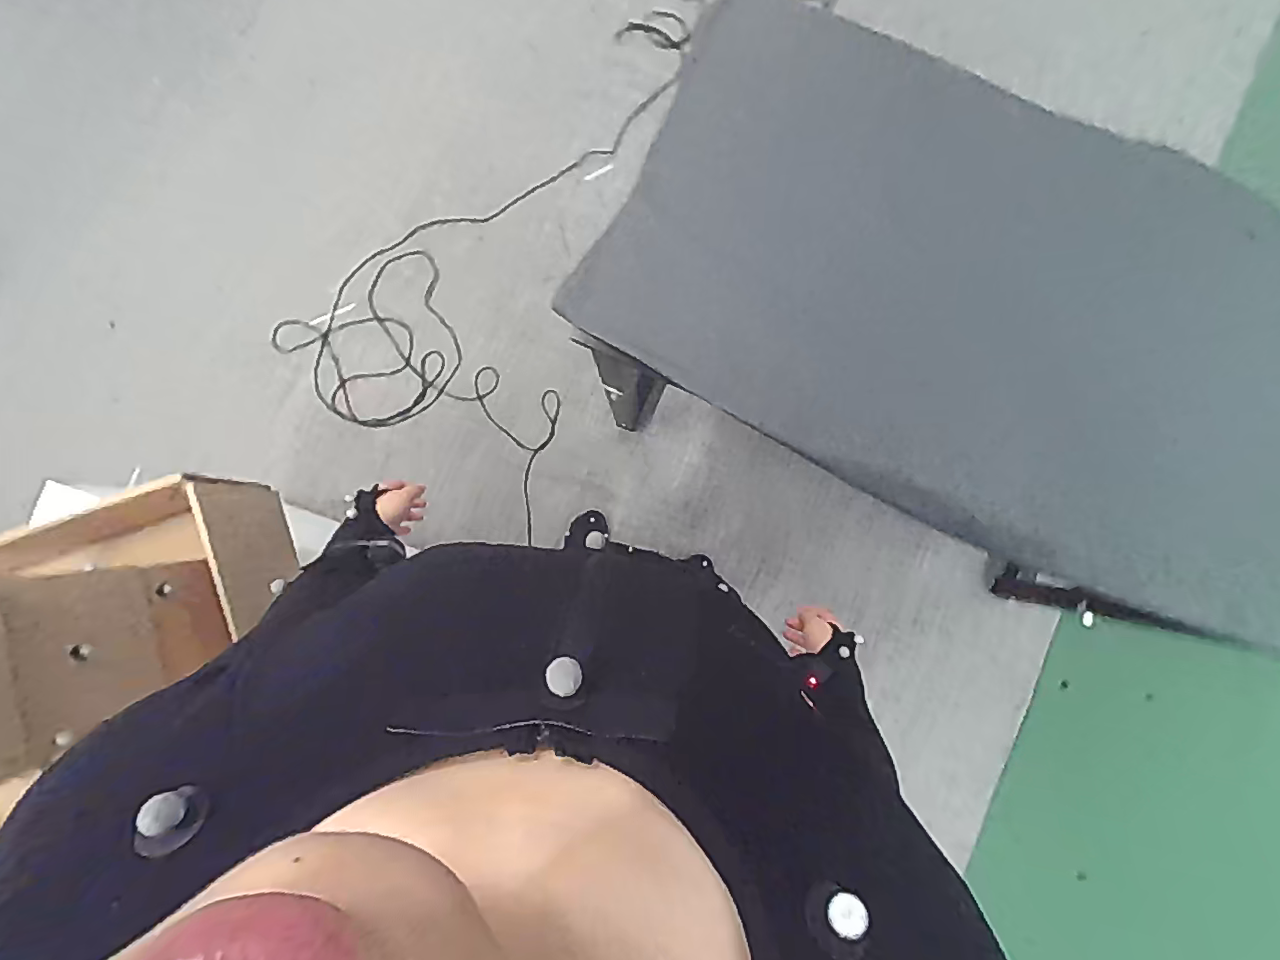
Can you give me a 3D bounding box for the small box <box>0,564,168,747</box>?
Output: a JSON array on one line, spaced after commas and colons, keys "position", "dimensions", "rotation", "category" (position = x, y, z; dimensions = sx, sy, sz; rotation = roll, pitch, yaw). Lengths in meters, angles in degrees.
[{"position": [-0.708, 0.202, 0.623], "dimensions": [0.168, 0.176, 0.179], "rotation": [-17, 87, 1], "category": "small box"}]
